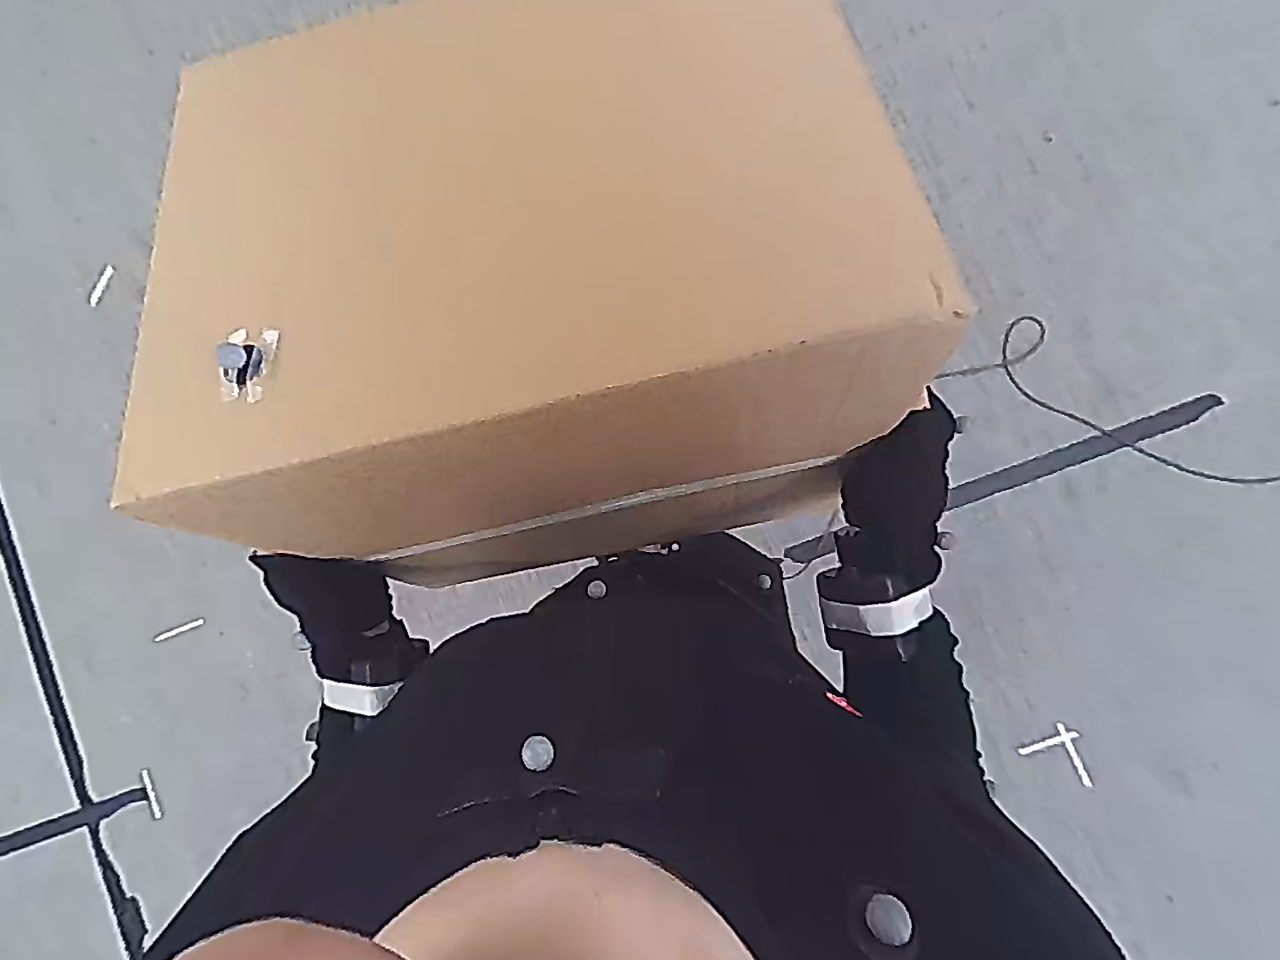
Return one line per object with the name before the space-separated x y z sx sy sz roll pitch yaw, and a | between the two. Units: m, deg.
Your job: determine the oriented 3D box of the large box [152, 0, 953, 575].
large box | -0.059 -0.132 0.441 0.408 0.320 0.320 -12 71 5
